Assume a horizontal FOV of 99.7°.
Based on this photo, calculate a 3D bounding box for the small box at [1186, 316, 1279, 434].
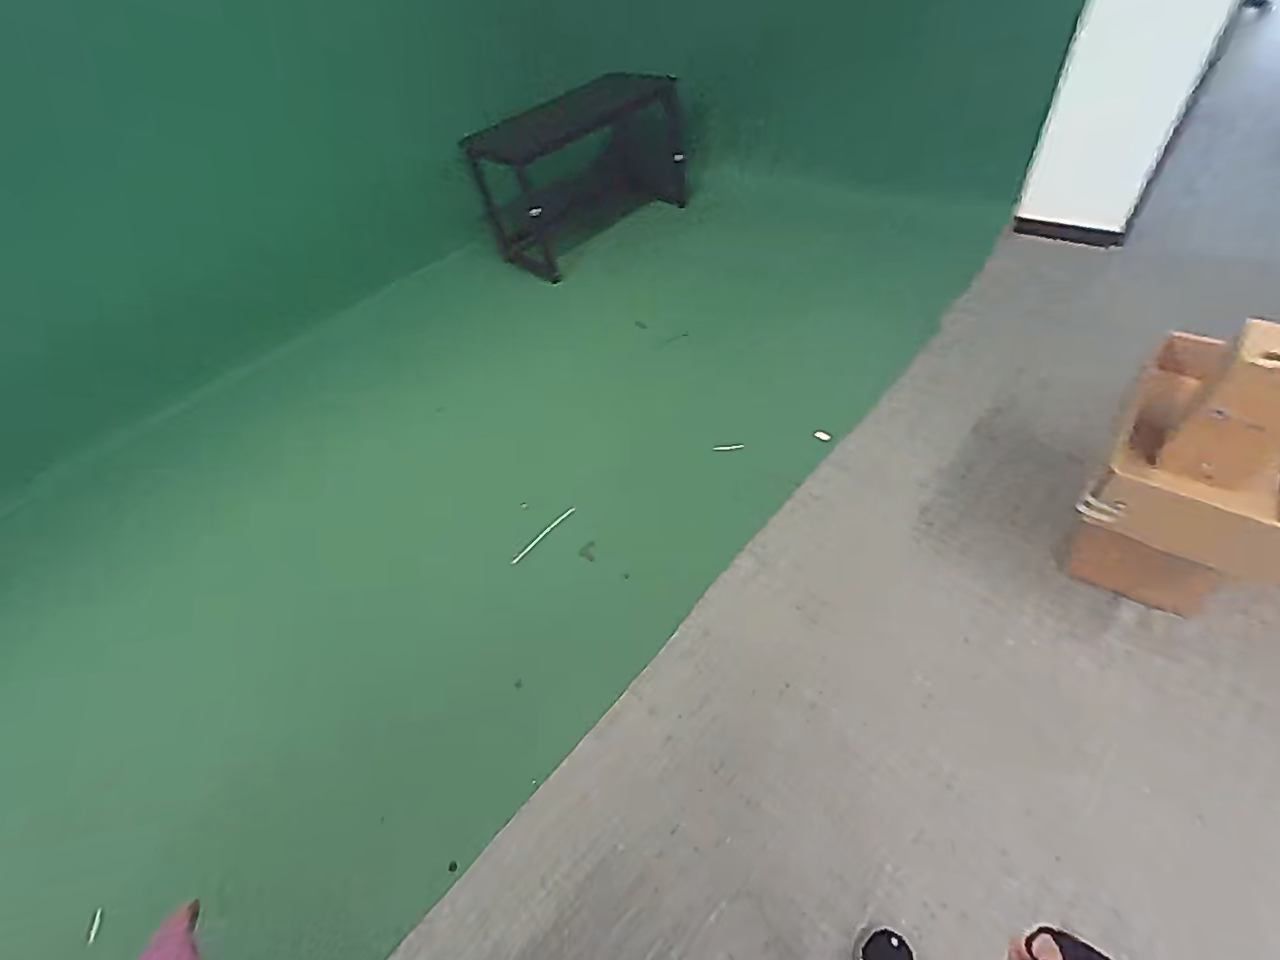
[{"bbox_3d":[1.358,-0.228,1.189,0.168,0.176,0.179,26,57,29],"label":"small box"}]

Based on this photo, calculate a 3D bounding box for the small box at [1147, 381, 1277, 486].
[{"bbox_3d":[1.383,-0.120,1.309,0.168,0.176,0.179,27,59,31],"label":"small box"}]
